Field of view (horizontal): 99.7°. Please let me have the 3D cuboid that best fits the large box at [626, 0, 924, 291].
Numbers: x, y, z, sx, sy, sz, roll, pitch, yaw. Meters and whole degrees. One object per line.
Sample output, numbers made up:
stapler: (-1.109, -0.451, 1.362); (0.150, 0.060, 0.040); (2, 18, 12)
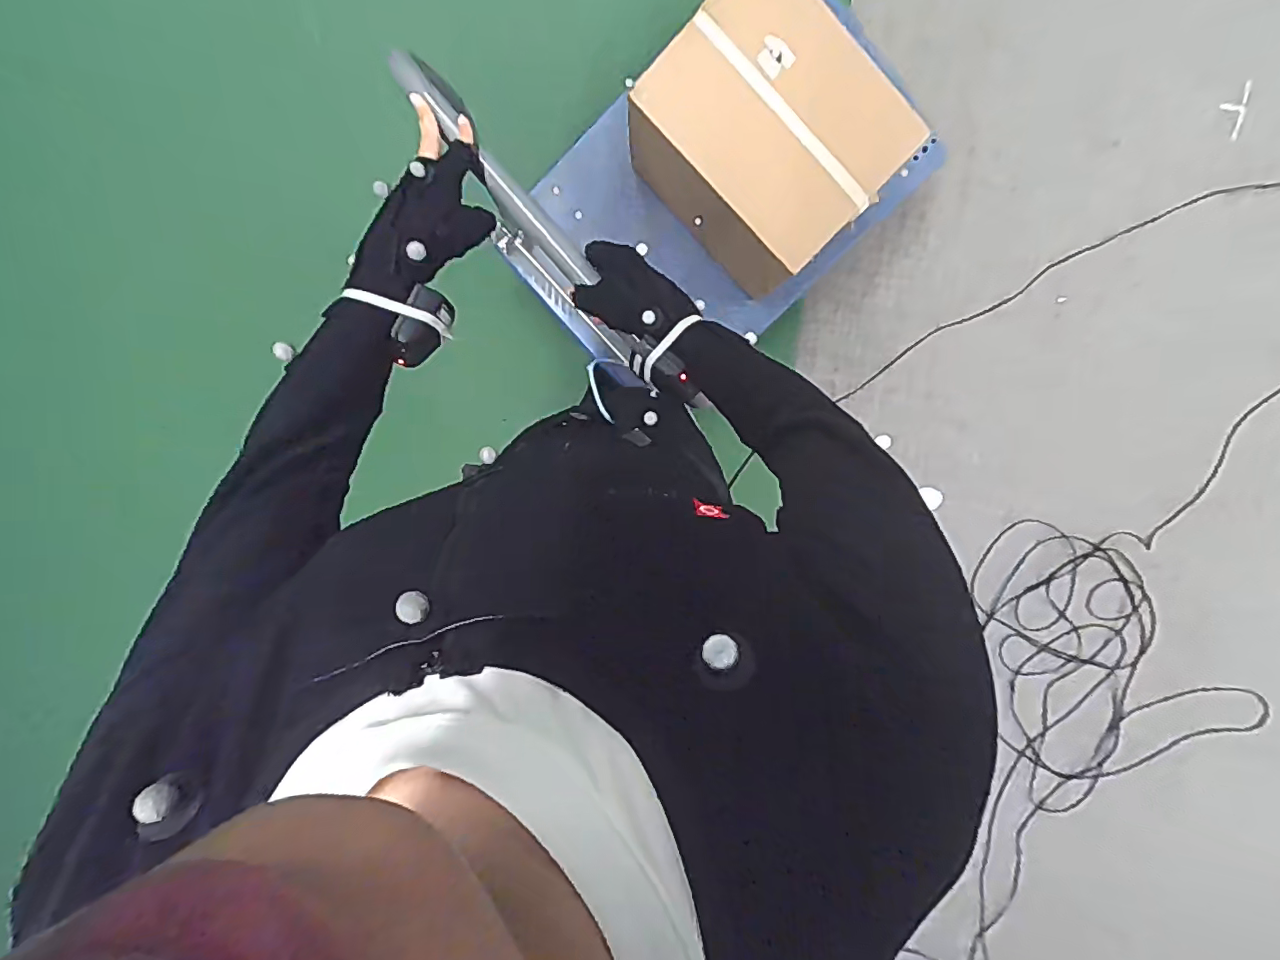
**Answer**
large box: (0.225, -0.633, 1.029); (0.408, 0.320, 0.320); (44, 97, -7)
